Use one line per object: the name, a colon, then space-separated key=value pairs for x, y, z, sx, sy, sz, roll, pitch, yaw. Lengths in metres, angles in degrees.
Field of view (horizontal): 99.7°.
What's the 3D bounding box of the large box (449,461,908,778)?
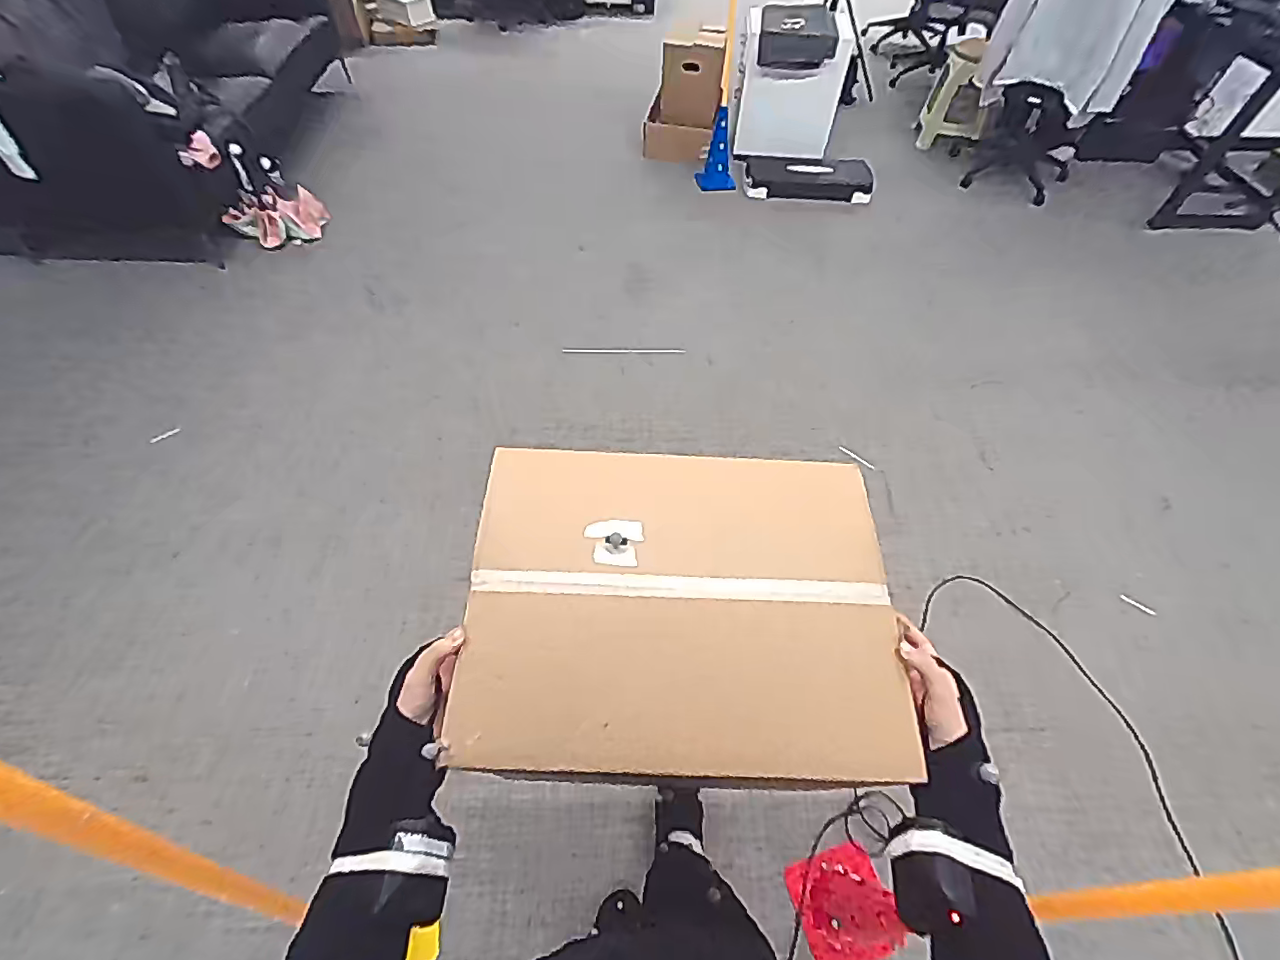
large box: x=0.033 y=0.188 z=0.664 sx=0.408 sy=0.320 sz=0.320 roll=2 pitch=59 yaw=-1
